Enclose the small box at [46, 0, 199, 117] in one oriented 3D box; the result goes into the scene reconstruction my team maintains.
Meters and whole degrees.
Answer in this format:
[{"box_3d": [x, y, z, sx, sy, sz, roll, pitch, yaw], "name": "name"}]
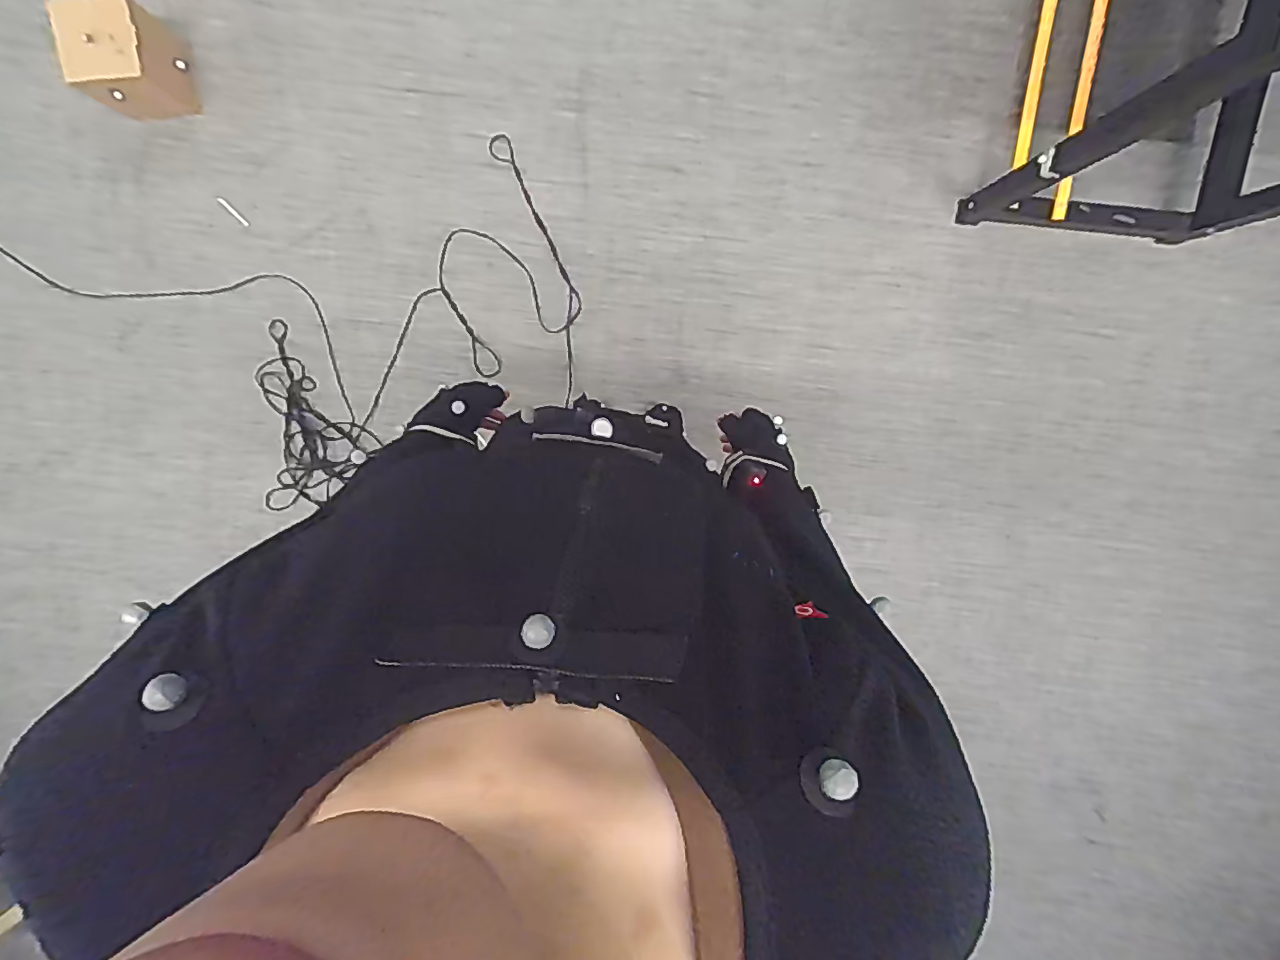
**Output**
[{"box_3d": [-1.182, -0.970, 1.248, 0.179, 0.176, 0.168, -5, 100, 1], "name": "small box"}]
